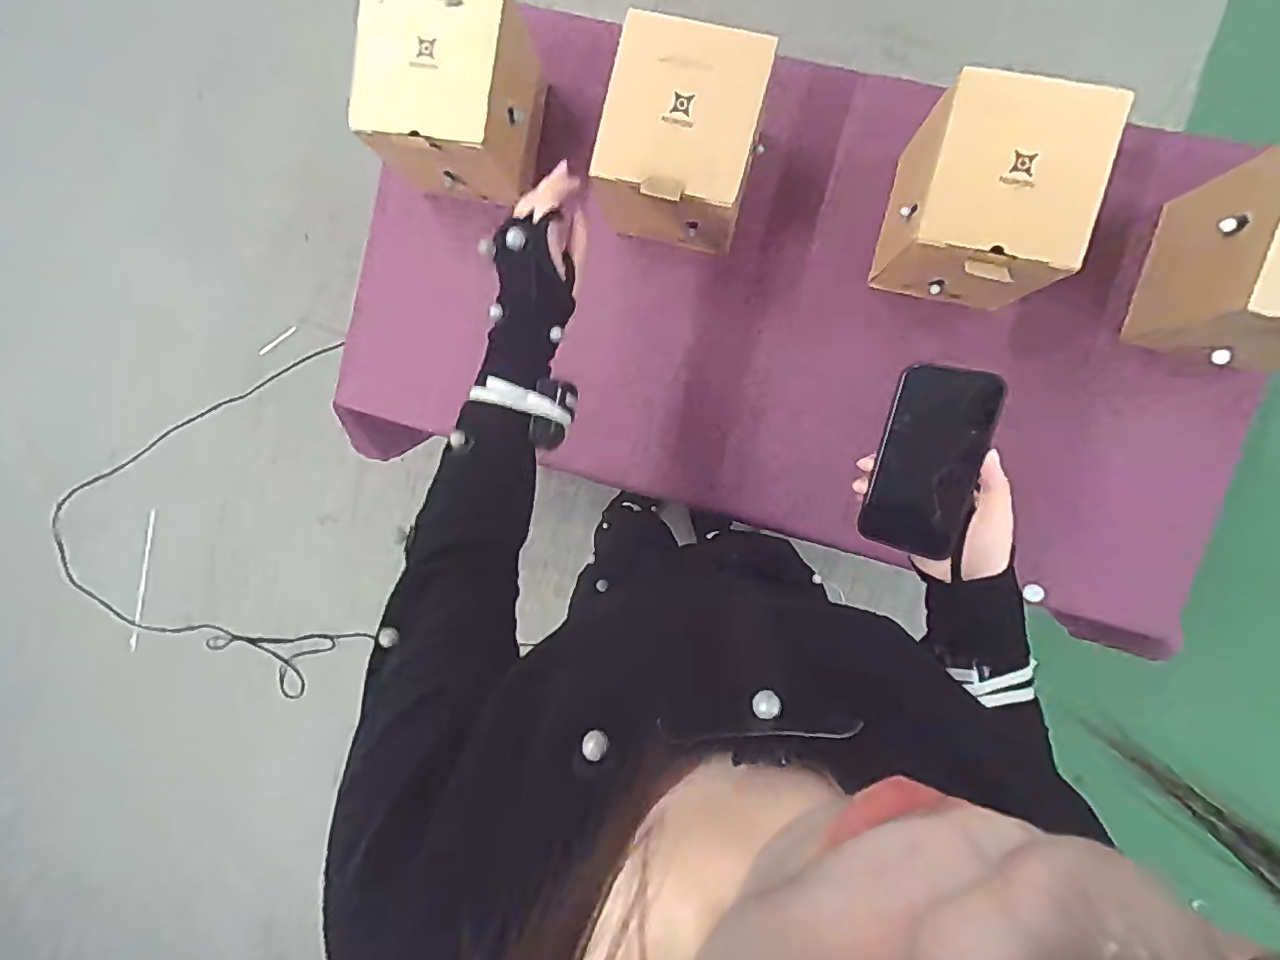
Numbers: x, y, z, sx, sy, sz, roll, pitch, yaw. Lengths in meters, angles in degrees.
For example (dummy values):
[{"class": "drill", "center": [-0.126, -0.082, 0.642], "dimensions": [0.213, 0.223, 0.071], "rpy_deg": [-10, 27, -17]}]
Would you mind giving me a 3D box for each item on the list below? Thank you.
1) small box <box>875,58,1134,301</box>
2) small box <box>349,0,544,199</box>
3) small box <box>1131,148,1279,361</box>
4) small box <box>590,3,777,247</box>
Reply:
[{"class": "small box", "center": [0.391, -0.325, 0.618], "dimensions": [0.168, 0.176, 0.179], "rpy_deg": [13, 97, 6]}, {"class": "small box", "center": [-0.230, -0.479, 0.679], "dimensions": [0.168, 0.176, 0.179], "rpy_deg": [11, 97, 5]}, {"class": "small box", "center": [0.696, -0.240, 0.583], "dimensions": [0.168, 0.176, 0.179], "rpy_deg": [16, 97, 7]}, {"class": "small box", "center": [0.053, -0.406, 0.652], "dimensions": [0.168, 0.176, 0.179], "rpy_deg": [16, 96, 4]}]
